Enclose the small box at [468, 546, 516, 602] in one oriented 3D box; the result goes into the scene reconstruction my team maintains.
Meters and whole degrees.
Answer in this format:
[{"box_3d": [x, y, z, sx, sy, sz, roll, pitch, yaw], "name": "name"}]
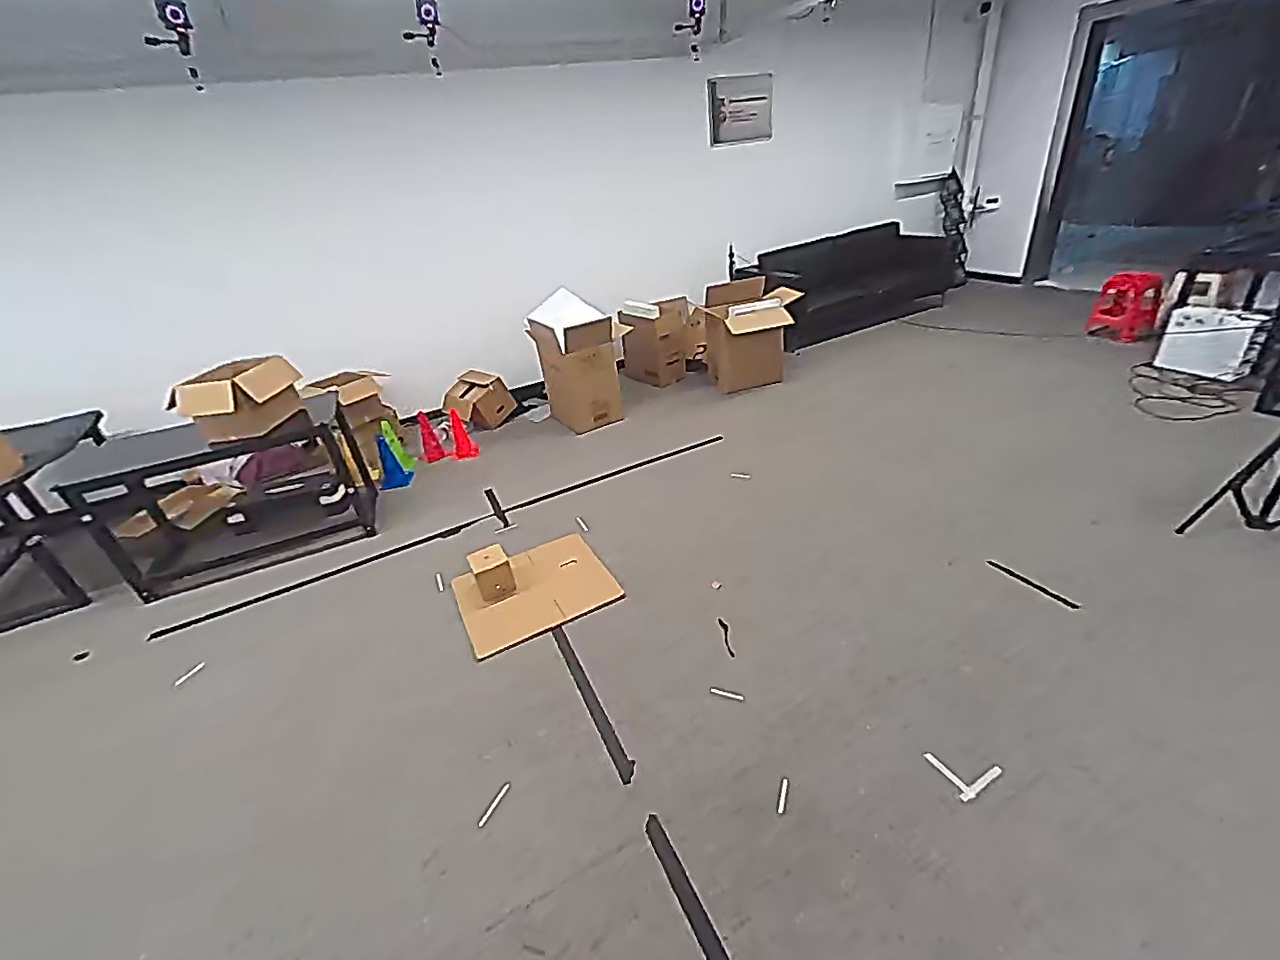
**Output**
[{"box_3d": [-0.711, 0.452, 2.598, 0.168, 0.176, 0.179, -21, 32, -21], "name": "small box"}]
